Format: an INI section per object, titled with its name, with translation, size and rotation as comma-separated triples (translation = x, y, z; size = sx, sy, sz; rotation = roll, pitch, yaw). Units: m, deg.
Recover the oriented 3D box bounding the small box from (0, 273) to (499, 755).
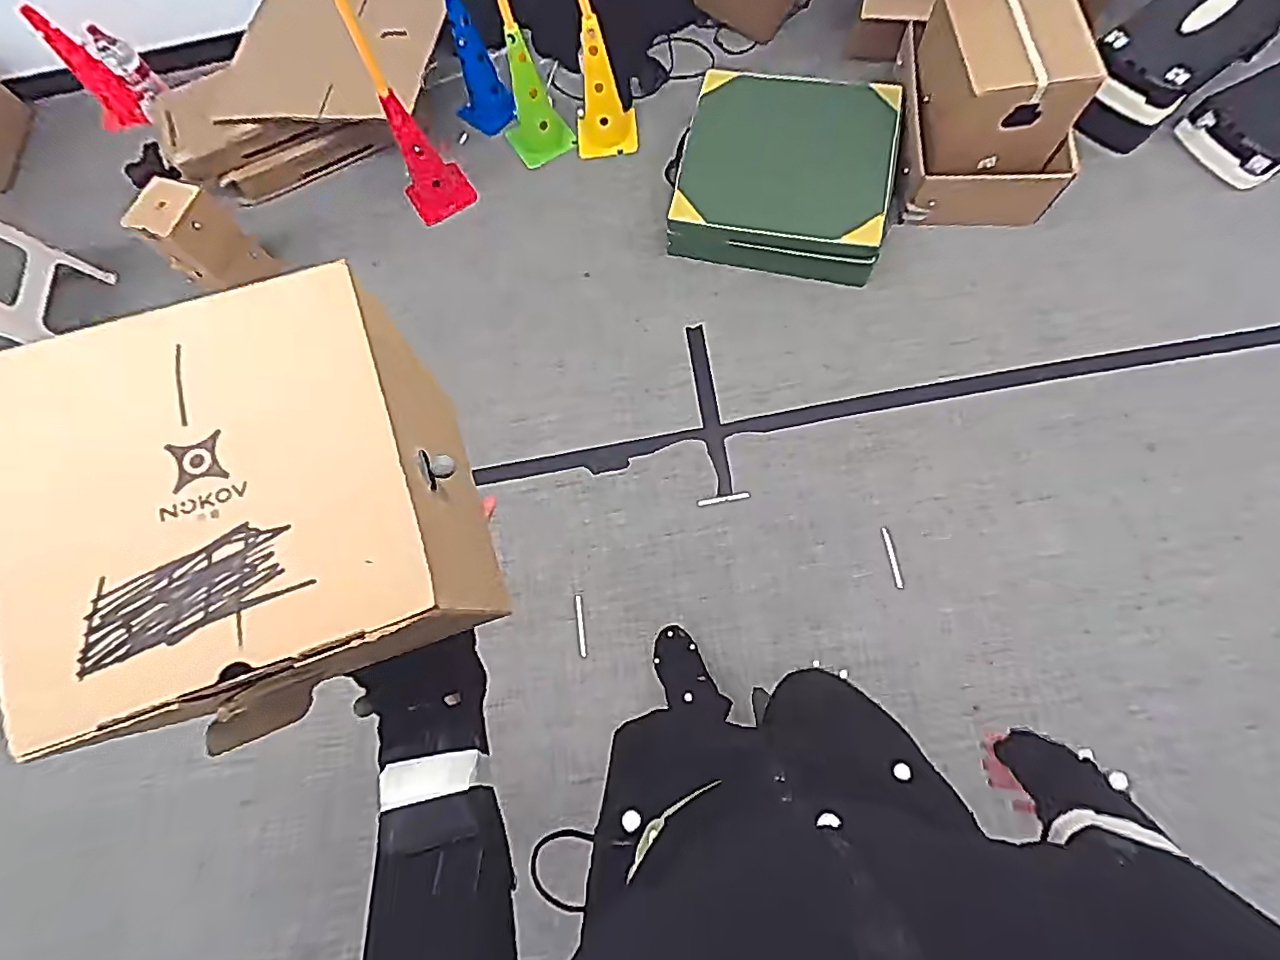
[small box]
translation = -0.195, 0.022, 0.312
size = 0.168, 0.176, 0.179
rotation = -19, 76, -7
